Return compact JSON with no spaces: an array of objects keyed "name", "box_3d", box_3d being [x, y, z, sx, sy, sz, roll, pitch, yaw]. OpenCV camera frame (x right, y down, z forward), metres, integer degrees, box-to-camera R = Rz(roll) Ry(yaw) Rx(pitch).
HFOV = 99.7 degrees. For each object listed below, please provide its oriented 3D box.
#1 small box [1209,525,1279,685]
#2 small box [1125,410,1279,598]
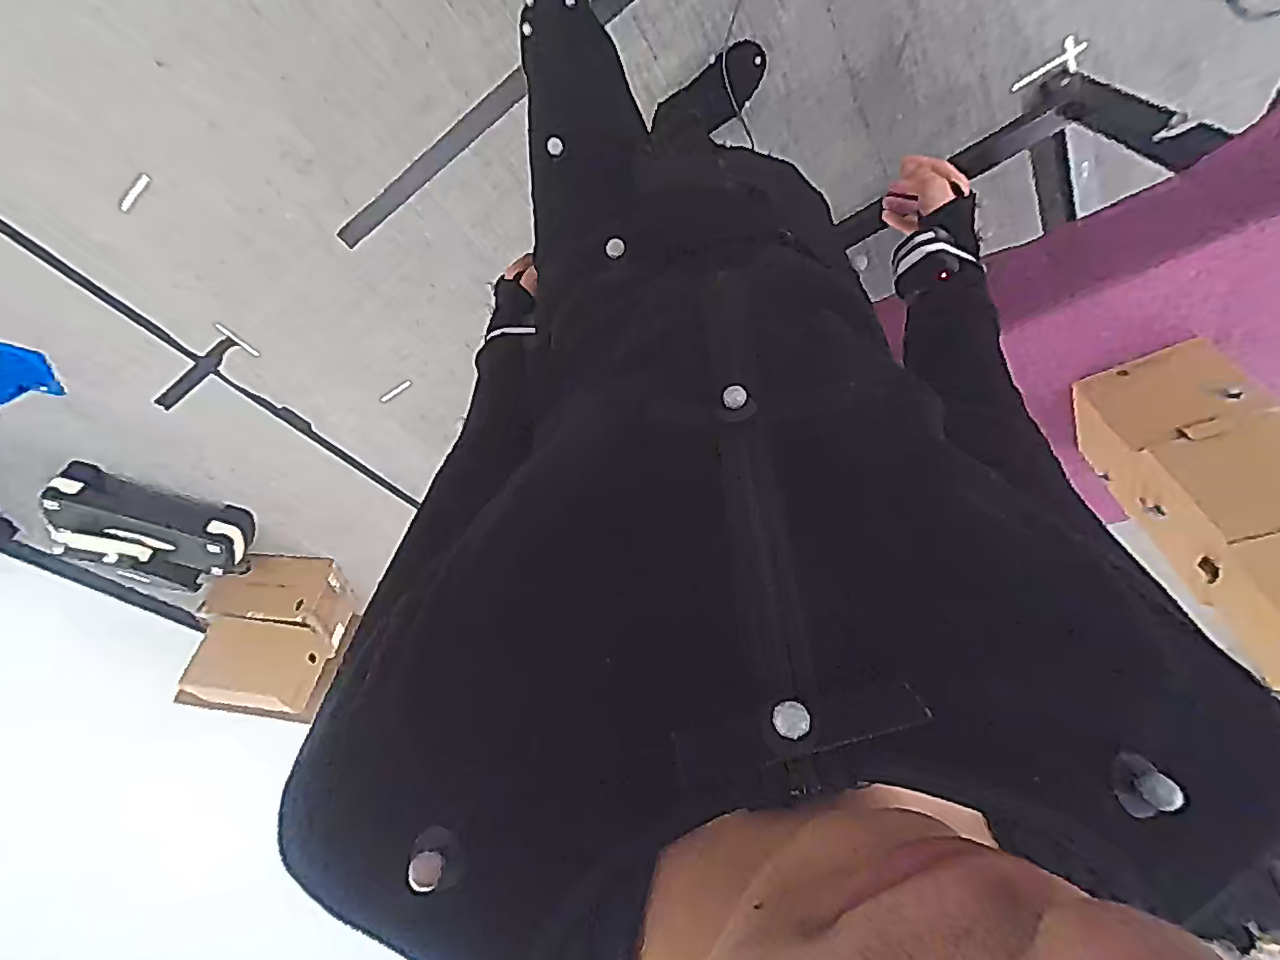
[{"name":"small box","box_3d":[0.801,0.146,0.608,0.168,0.176,0.179,-24,132,25]},{"name":"small box","box_3d":[0.808,0.030,0.721,0.179,0.176,0.168,-18,132,21]}]
